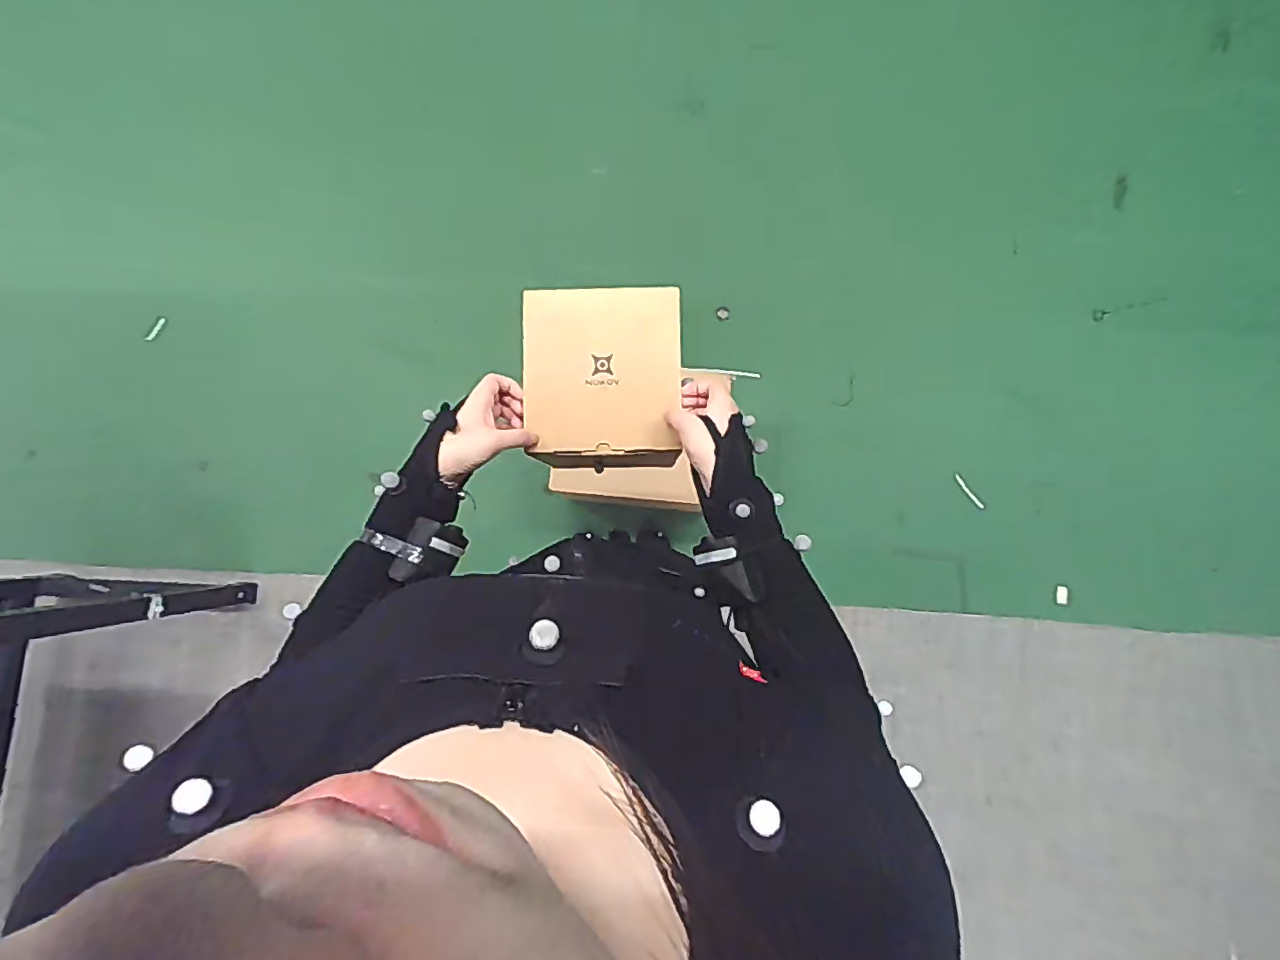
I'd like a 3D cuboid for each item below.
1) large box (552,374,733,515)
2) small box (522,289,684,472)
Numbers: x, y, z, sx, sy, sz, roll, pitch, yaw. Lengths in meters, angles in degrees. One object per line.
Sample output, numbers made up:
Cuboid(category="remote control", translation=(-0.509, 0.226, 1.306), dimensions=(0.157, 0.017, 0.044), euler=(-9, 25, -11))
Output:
Cuboid(category="large box", translation=(0.005, -0.083, 1.387), dimensions=(0.408, 0.320, 0.320), euler=(5, 84, 0))
Cuboid(category="small box", translation=(-0.039, -0.104, 0.631), dimensions=(0.168, 0.176, 0.179), euler=(-1, 87, 0))
